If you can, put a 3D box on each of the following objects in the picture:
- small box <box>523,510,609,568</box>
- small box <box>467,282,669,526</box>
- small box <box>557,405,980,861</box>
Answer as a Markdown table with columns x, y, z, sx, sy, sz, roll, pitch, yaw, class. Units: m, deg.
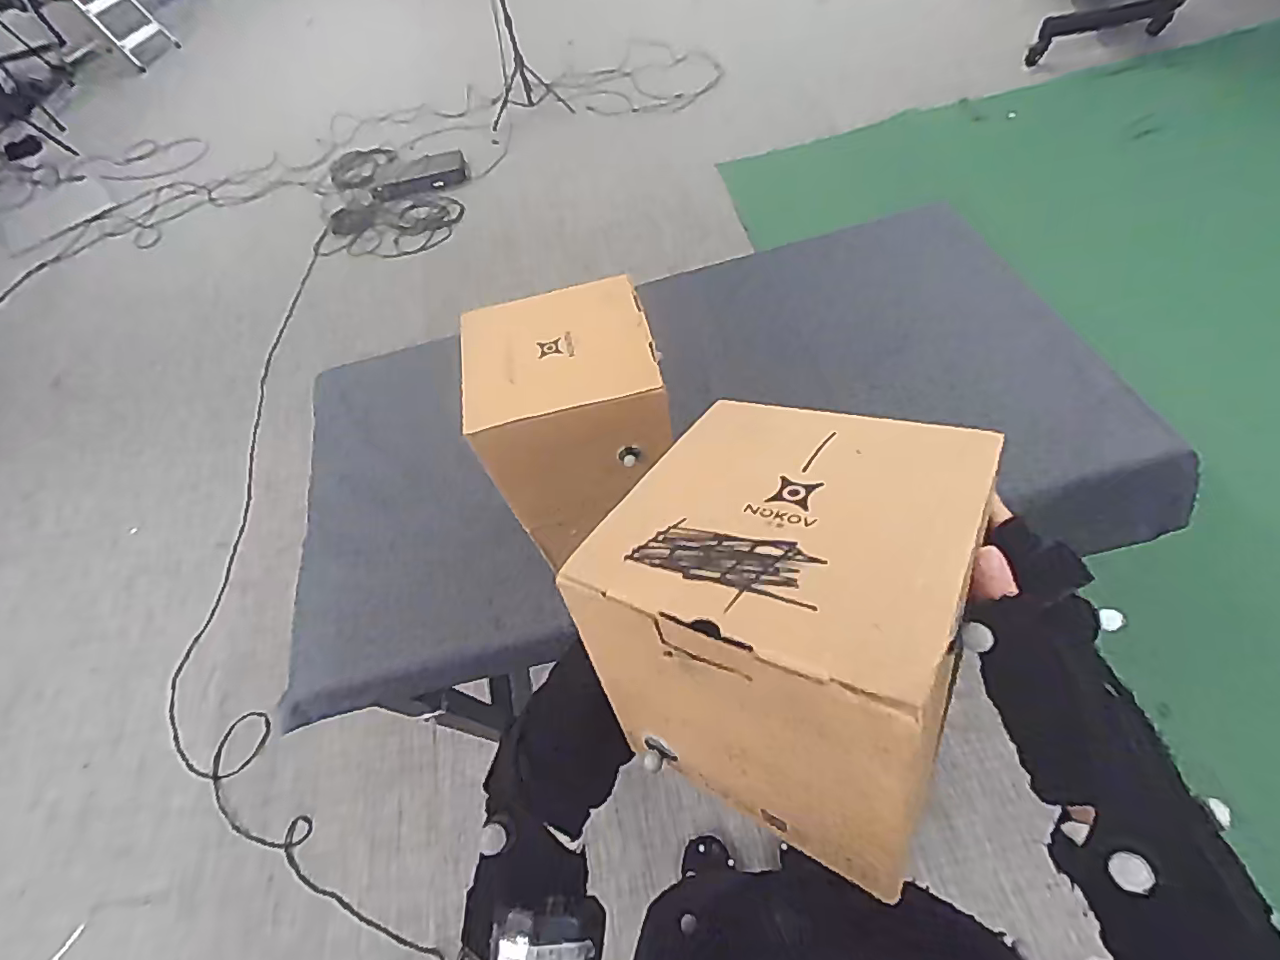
| x | y | z | sx | sy | sz | roll | pitch | yaw | class |
| --- | --- | --- | --- | --- | --- | --- | --- | --- | --- |
| -0.047 | 0.013 | 0.709 | 0.179 | 0.176 | 0.168 | -13 | 56 | 0 | small box |
| -0.068 | -0.074 | 0.573 | 0.179 | 0.176 | 0.168 | -14 | 54 | 1 | small box |
| 0.085 | 0.077 | 0.325 | 0.168 | 0.176 | 0.179 | 14 | 43 | 34 | small box |
